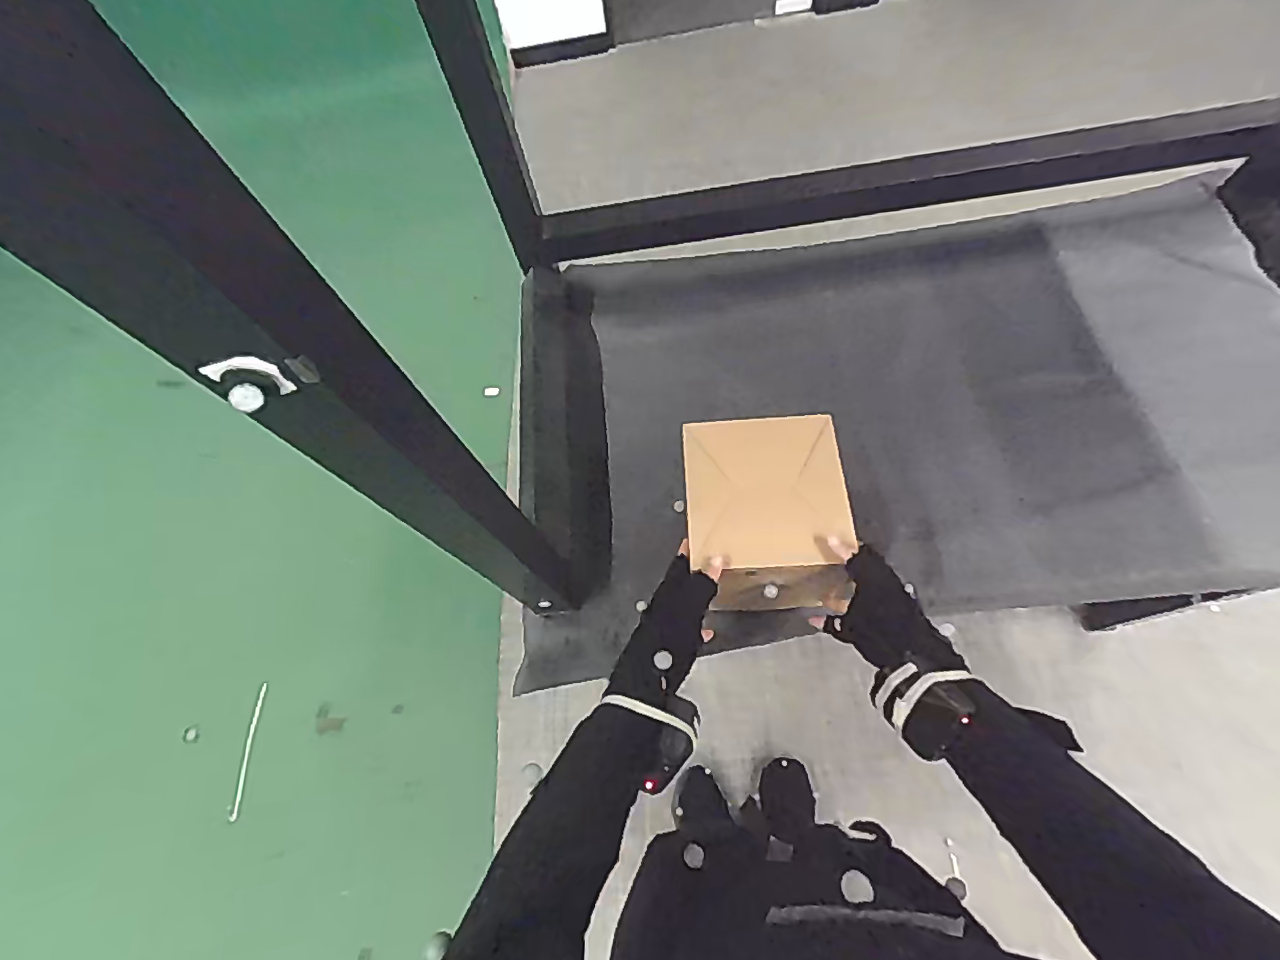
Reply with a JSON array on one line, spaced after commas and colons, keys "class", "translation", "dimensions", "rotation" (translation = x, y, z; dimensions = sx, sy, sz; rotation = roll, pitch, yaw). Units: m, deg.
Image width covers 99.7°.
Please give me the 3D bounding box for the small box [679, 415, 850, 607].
[{"class": "small box", "translation": [0.134, 0.041, 0.637], "dimensions": [0.168, 0.176, 0.179], "rotation": [-4, 62, 6]}]
